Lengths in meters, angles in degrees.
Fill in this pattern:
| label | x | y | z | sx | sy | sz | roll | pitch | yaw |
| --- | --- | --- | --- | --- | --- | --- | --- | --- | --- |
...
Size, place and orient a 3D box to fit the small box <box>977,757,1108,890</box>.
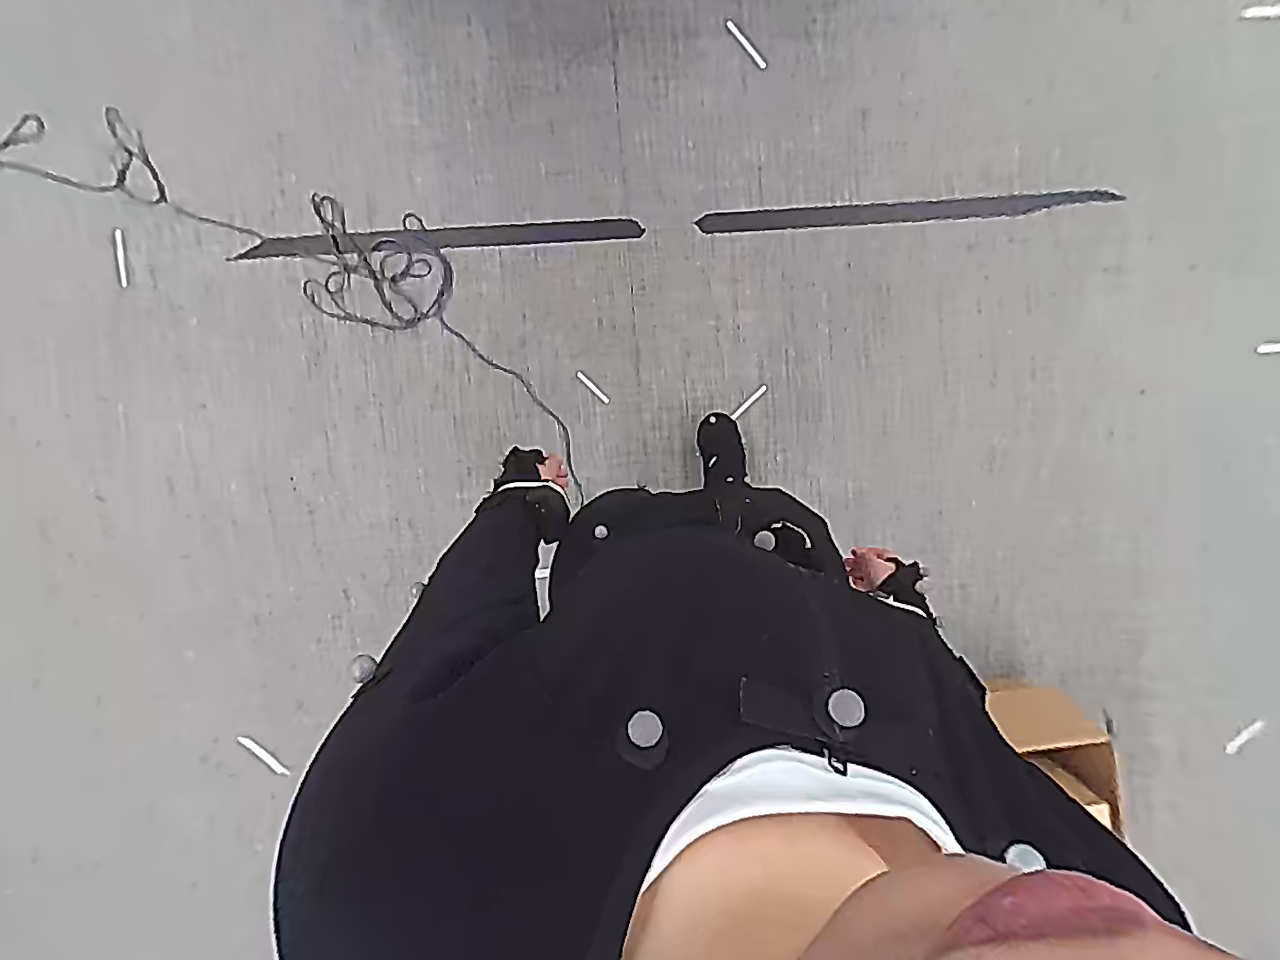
| label | x | y | z | sx | sy | sz | roll | pitch | yaw |
| --- | --- | --- | --- | --- | --- | --- | --- | --- | --- |
| small box | 0.865 | 0.738 | 1.175 | 0.168 | 0.176 | 0.179 | -6 | 93 | 0 |
